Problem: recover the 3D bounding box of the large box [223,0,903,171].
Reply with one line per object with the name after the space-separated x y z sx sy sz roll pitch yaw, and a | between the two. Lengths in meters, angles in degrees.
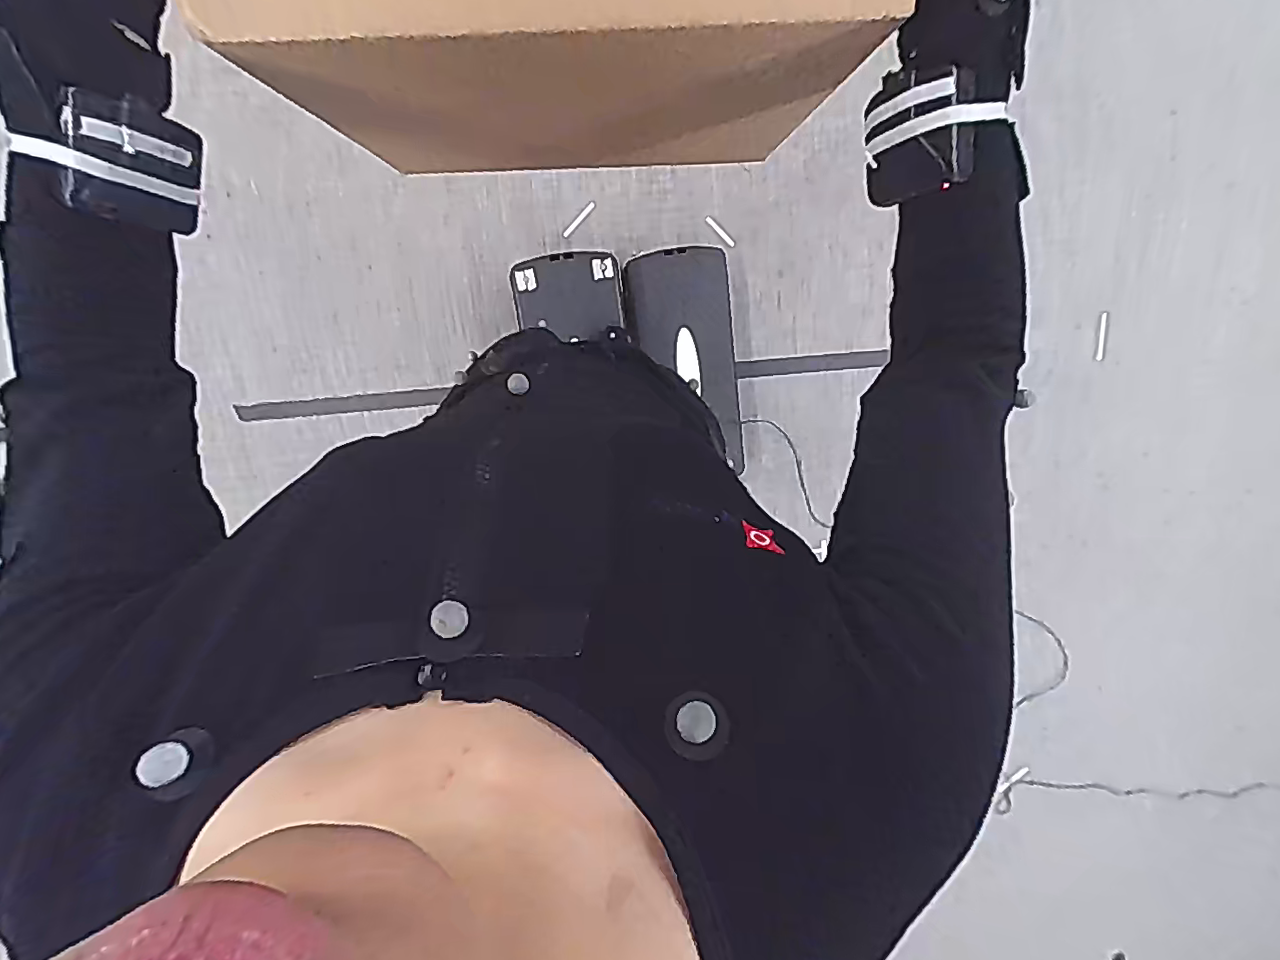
-0.056 -0.454 0.415 0.408 0.320 0.320 -3 108 -3 | large box
